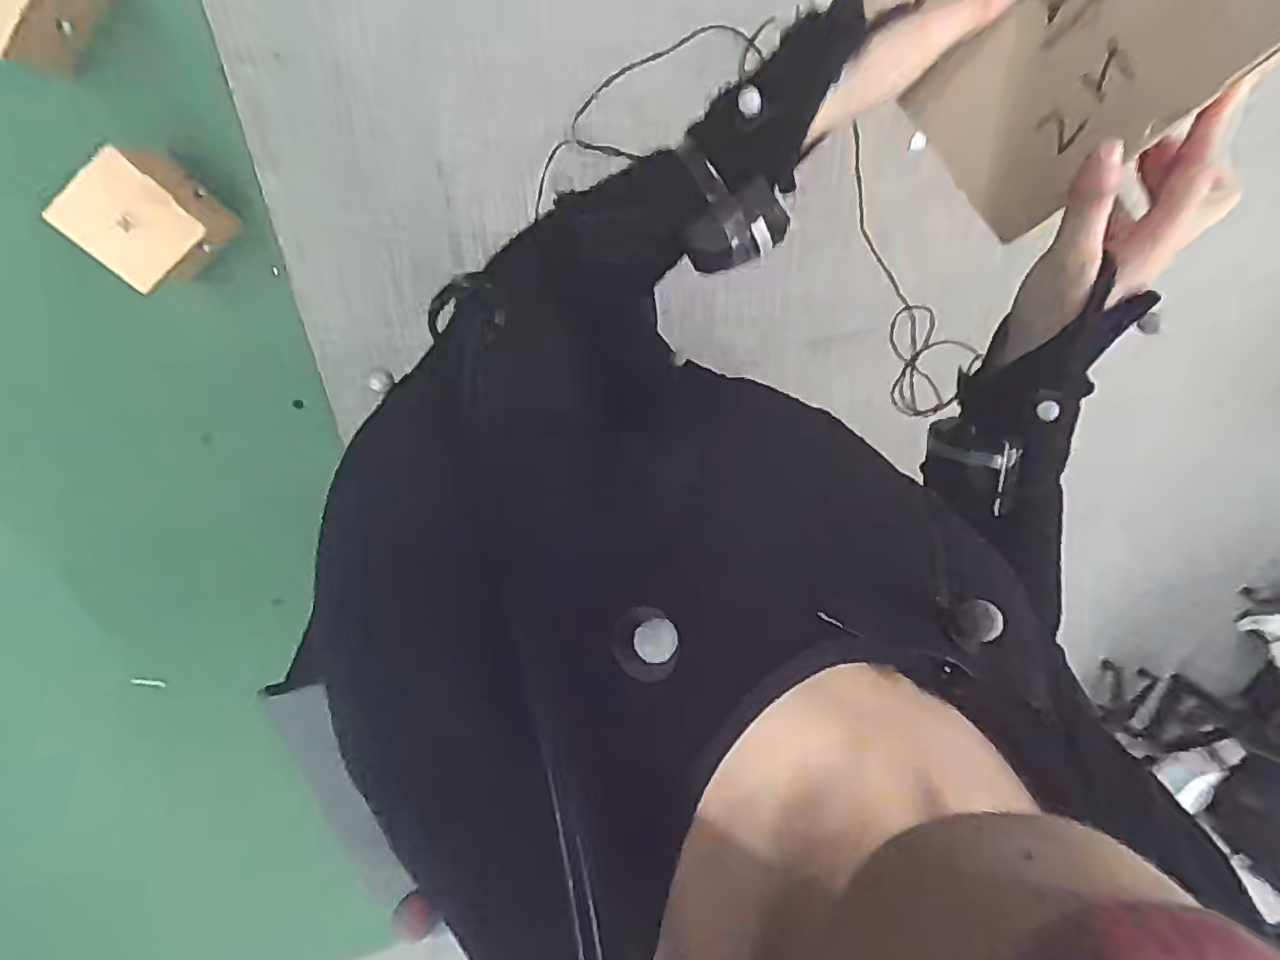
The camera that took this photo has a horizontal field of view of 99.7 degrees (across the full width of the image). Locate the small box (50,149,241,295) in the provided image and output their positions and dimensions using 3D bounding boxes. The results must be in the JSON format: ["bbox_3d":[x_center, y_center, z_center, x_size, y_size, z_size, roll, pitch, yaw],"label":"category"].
[{"bbox_3d":[-0.895,-0.473,1.002,0.179,0.176,0.168,-41,119,6],"label":"small box"}]
